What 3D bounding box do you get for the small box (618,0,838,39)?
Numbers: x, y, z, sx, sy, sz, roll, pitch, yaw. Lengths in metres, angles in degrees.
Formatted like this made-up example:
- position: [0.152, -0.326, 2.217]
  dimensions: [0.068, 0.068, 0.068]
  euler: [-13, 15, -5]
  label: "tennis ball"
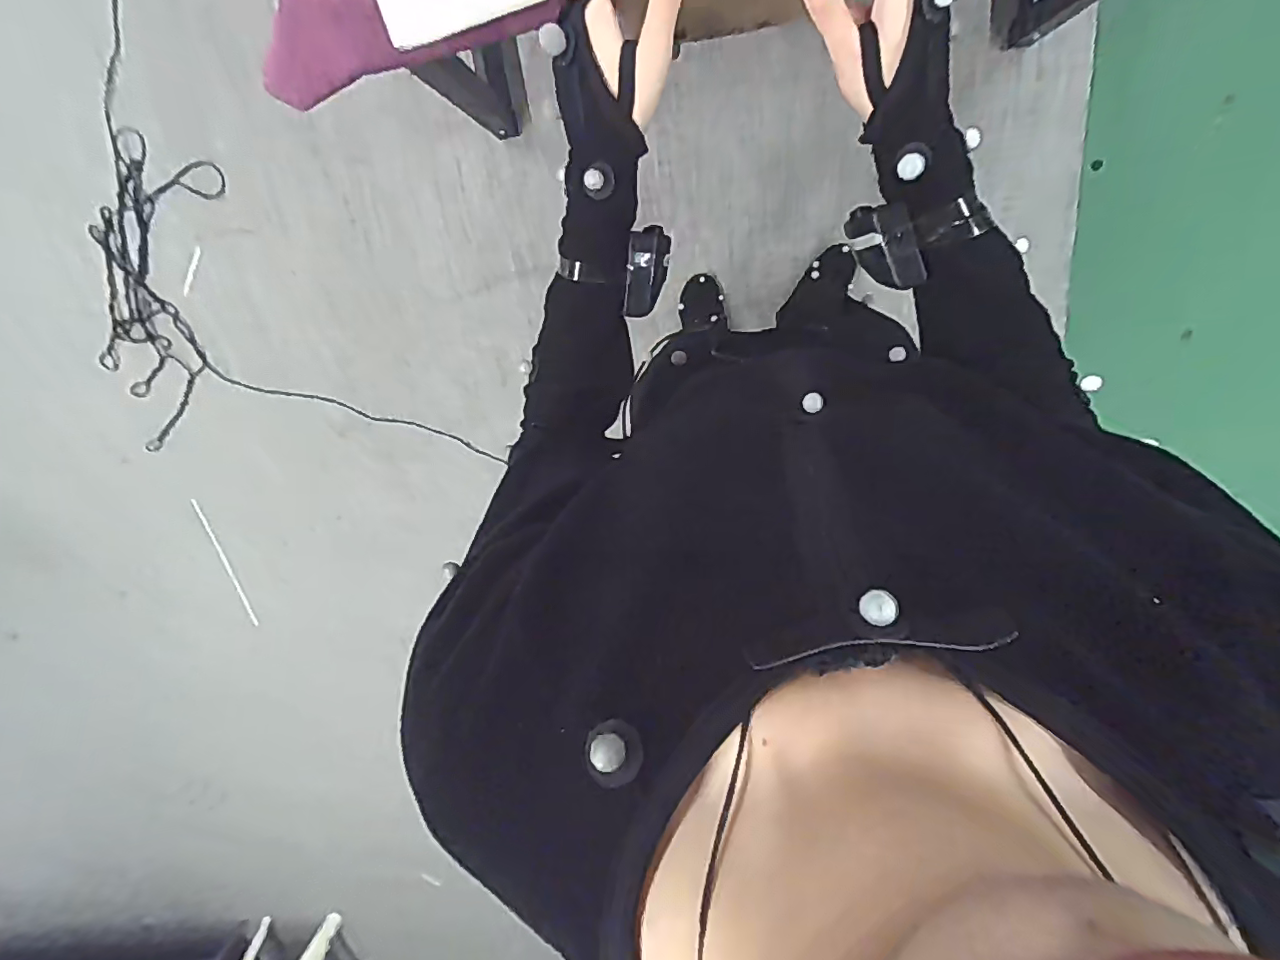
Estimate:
- position: [0.059, -0.404, 0.333]
  dimensions: [0.168, 0.176, 0.179]
  euler: [-3, 116, 8]
  label: "small box"
